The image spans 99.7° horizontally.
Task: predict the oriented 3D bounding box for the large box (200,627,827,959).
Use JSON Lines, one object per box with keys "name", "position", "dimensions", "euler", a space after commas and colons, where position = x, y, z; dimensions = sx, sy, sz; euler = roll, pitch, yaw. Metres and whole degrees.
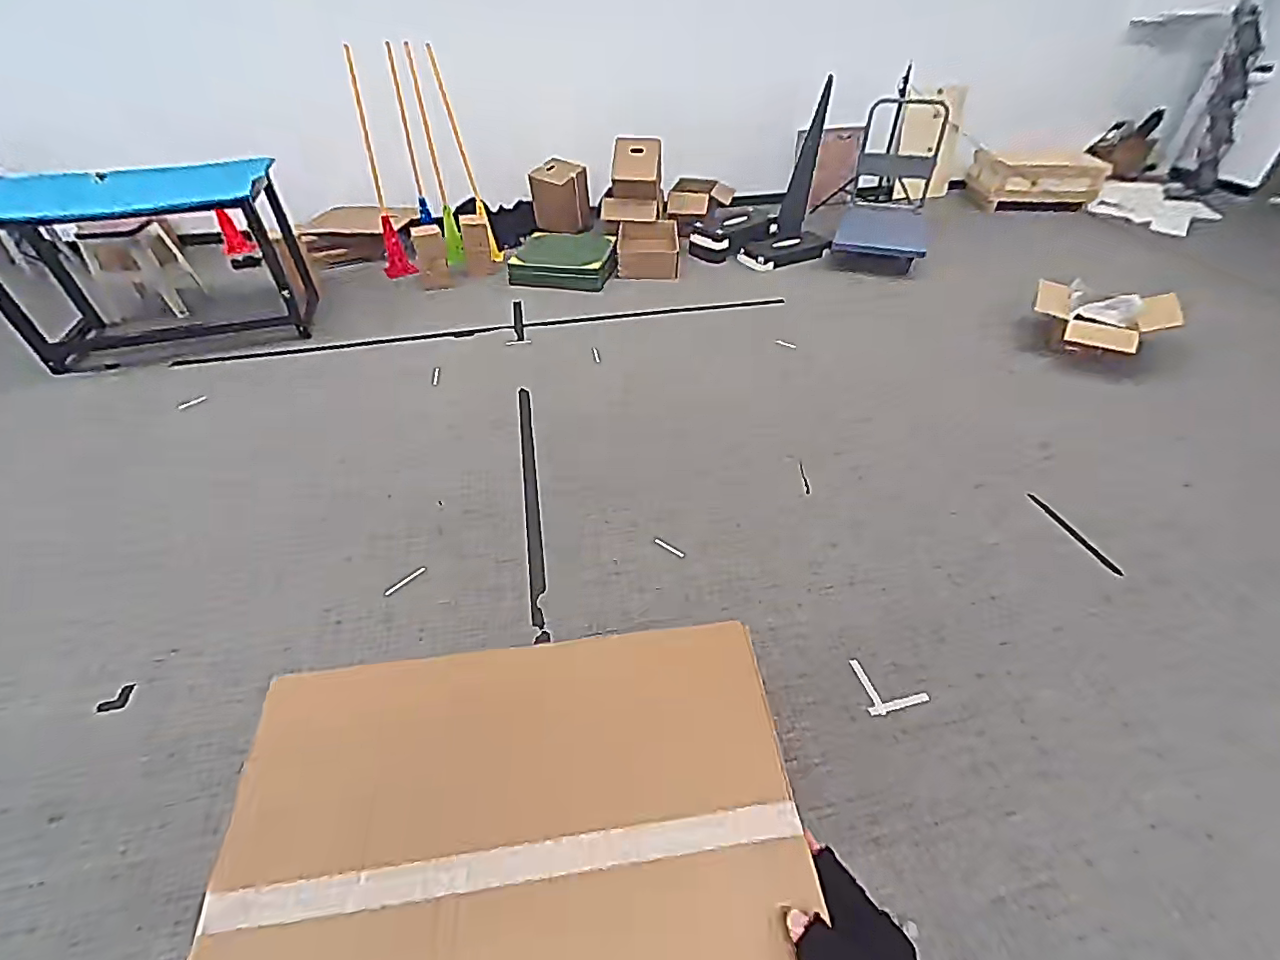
{"name": "large box", "position": [-0.087, 0.365, 0.494], "dimensions": [0.408, 0.320, 0.320], "euler": [-6, 50, -5]}
